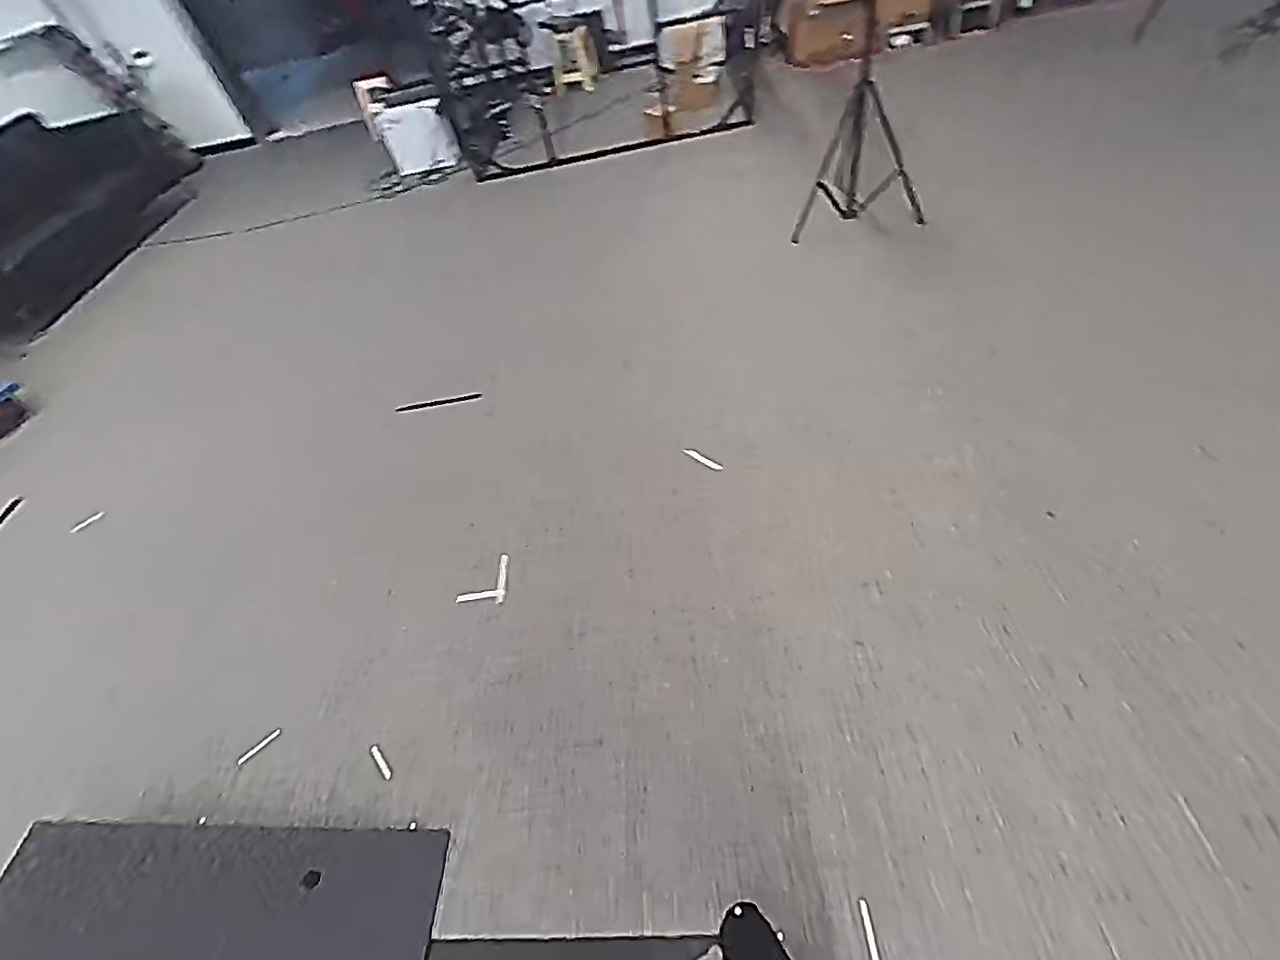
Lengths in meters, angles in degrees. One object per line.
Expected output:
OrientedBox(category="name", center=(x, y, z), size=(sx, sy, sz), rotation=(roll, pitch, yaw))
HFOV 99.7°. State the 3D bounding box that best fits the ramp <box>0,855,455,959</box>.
OrientedBox(category="ramp", center=(-0.934, 1.087, 1.140), size=(0.991, 0.206, 0.509), rotation=(-8, 47, 7))
